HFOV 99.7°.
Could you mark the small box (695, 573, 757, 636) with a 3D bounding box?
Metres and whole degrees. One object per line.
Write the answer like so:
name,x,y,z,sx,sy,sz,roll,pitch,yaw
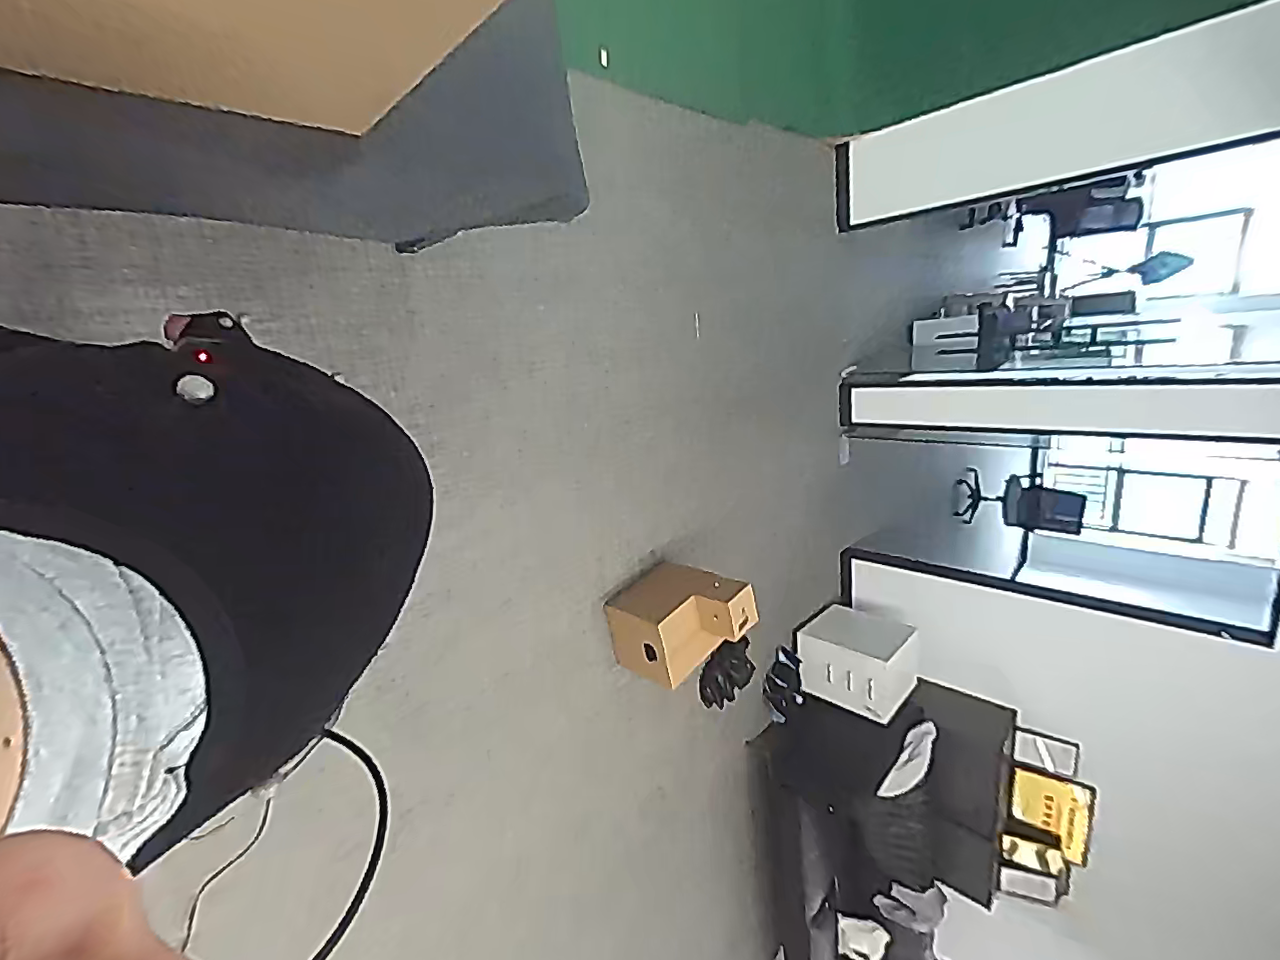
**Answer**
small box,0.346,0.498,2.185,0.168,0.176,0.179,-28,112,-40
